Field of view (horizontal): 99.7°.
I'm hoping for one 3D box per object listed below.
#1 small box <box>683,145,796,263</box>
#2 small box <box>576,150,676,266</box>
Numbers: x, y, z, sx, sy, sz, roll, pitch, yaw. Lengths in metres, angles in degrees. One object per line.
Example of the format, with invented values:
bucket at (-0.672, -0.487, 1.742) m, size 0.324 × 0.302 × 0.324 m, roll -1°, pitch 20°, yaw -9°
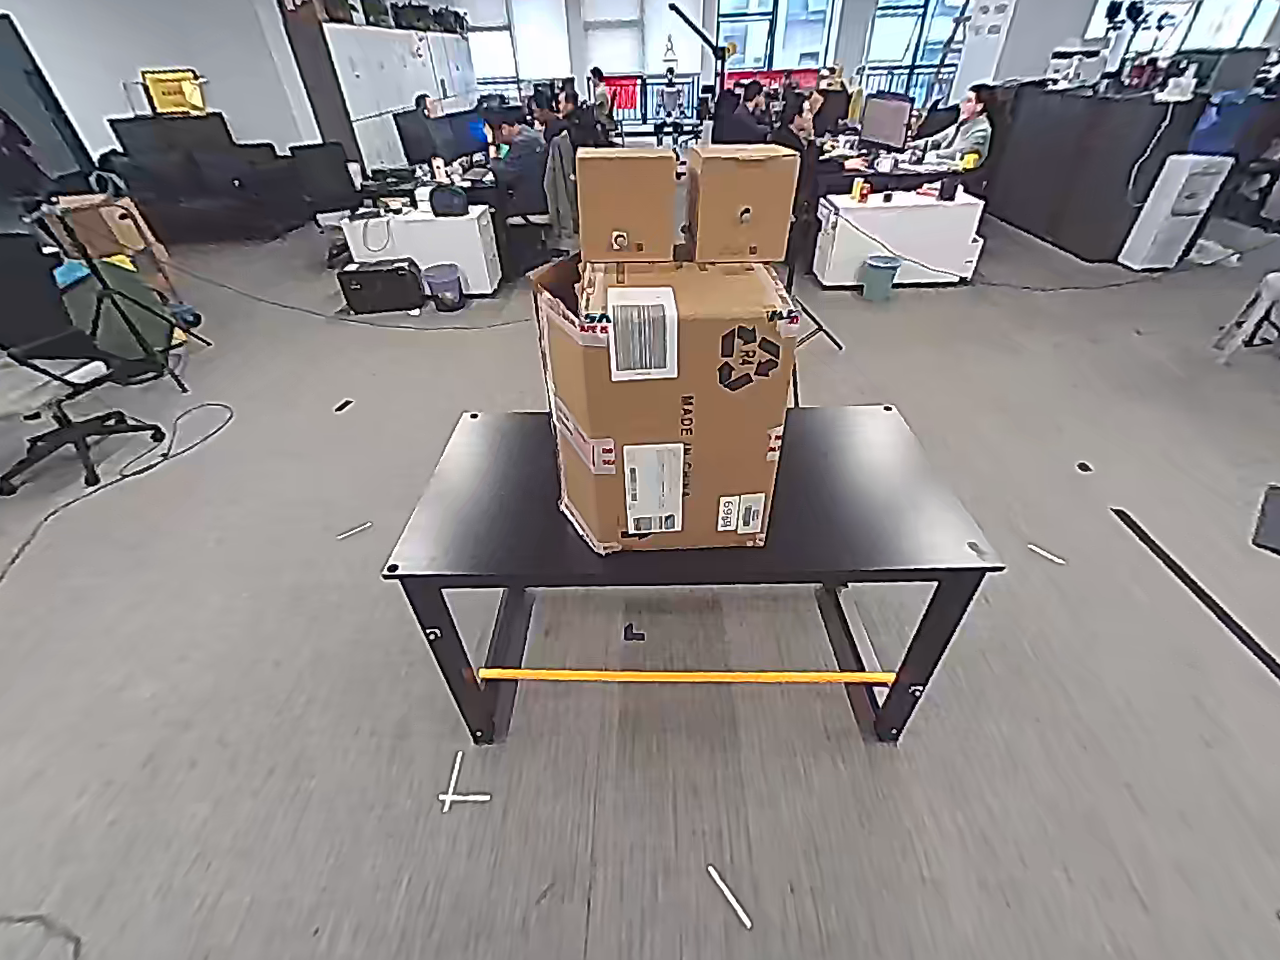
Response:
small box at (0.172, -0.506, 0.993) m, size 0.168 × 0.176 × 0.179 m, roll -1°, pitch 38°, yaw -3°
small box at (-0.028, -0.501, 0.993) m, size 0.168 × 0.176 × 0.179 m, roll -4°, pitch 36°, yaw -3°
